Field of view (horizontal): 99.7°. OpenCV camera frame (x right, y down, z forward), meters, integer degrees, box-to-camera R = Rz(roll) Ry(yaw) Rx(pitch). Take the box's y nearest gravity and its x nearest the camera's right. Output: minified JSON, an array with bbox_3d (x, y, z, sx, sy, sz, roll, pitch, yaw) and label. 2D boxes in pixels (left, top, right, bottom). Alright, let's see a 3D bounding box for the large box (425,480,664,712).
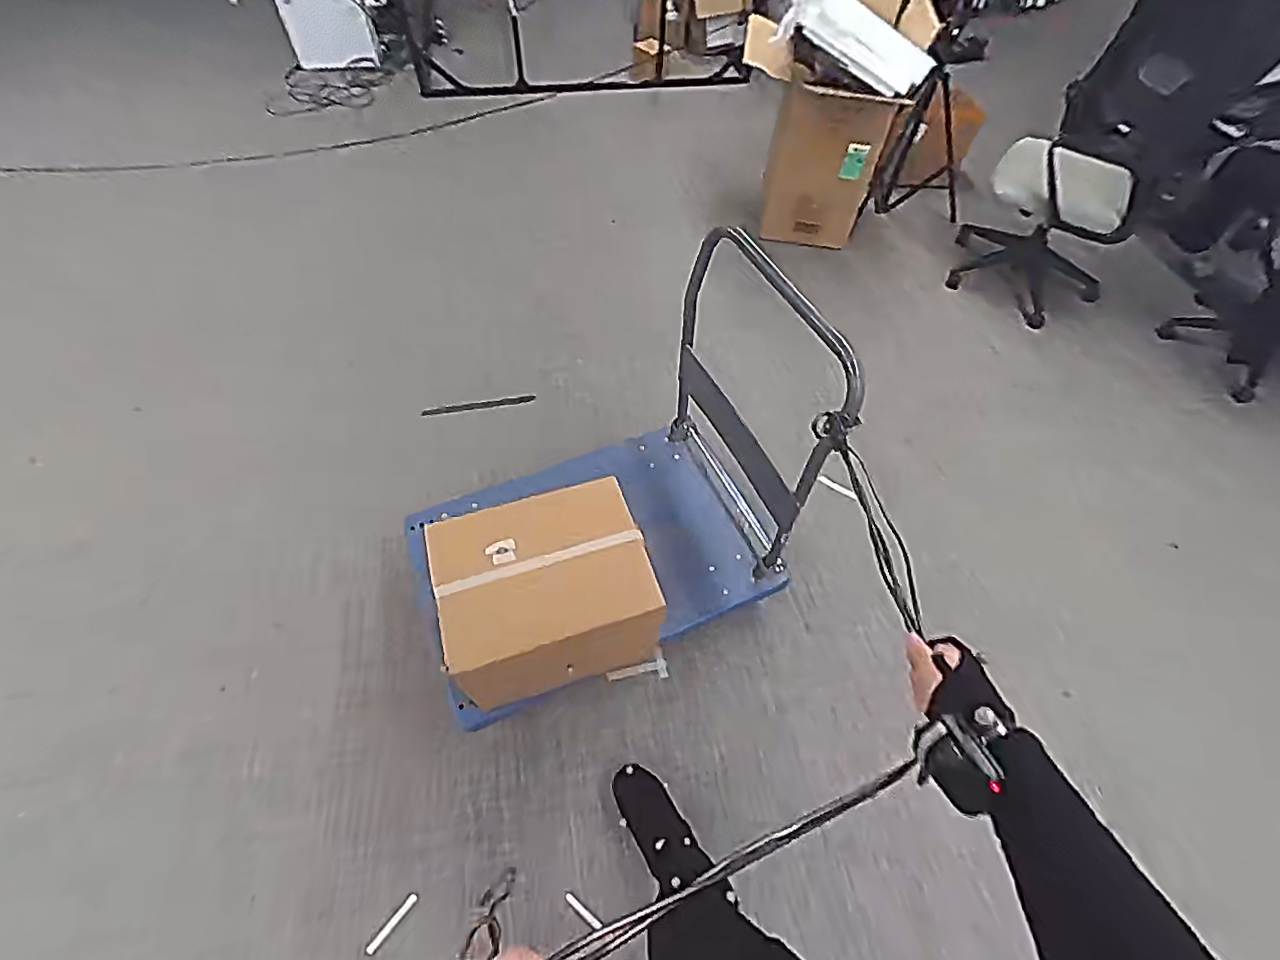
[{"bbox_3d":[-0.194,0.253,1.162,0.408,0.320,0.320,-16,57,-12],"label":"large box"}]
